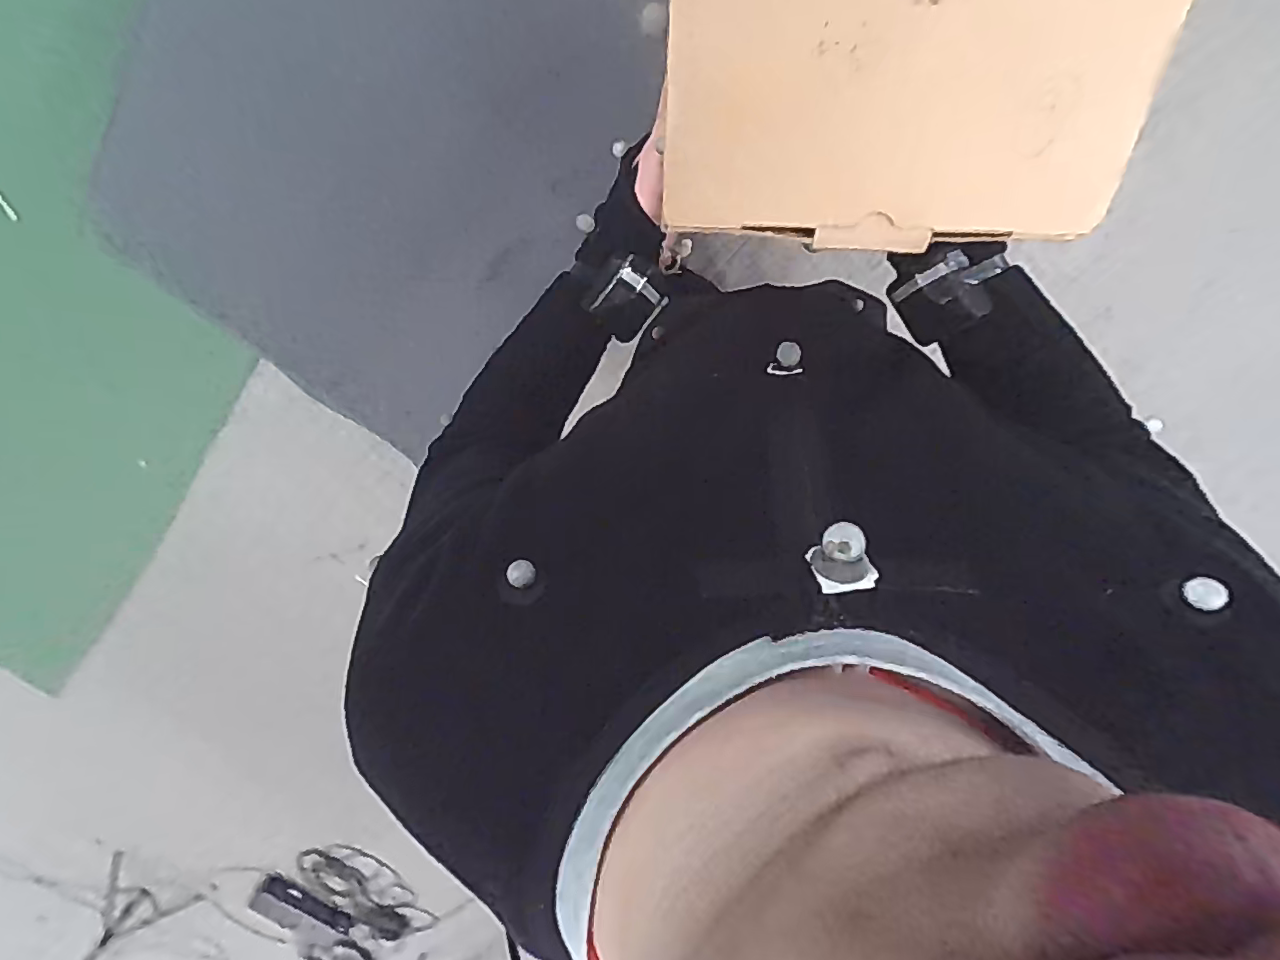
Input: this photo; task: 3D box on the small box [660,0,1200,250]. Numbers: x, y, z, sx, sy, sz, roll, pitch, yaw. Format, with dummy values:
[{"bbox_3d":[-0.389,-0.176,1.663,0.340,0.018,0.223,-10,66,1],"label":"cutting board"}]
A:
[{"bbox_3d":[0.099,-0.210,0.231,0.168,0.176,0.179,3,122,3],"label":"small box"}]
